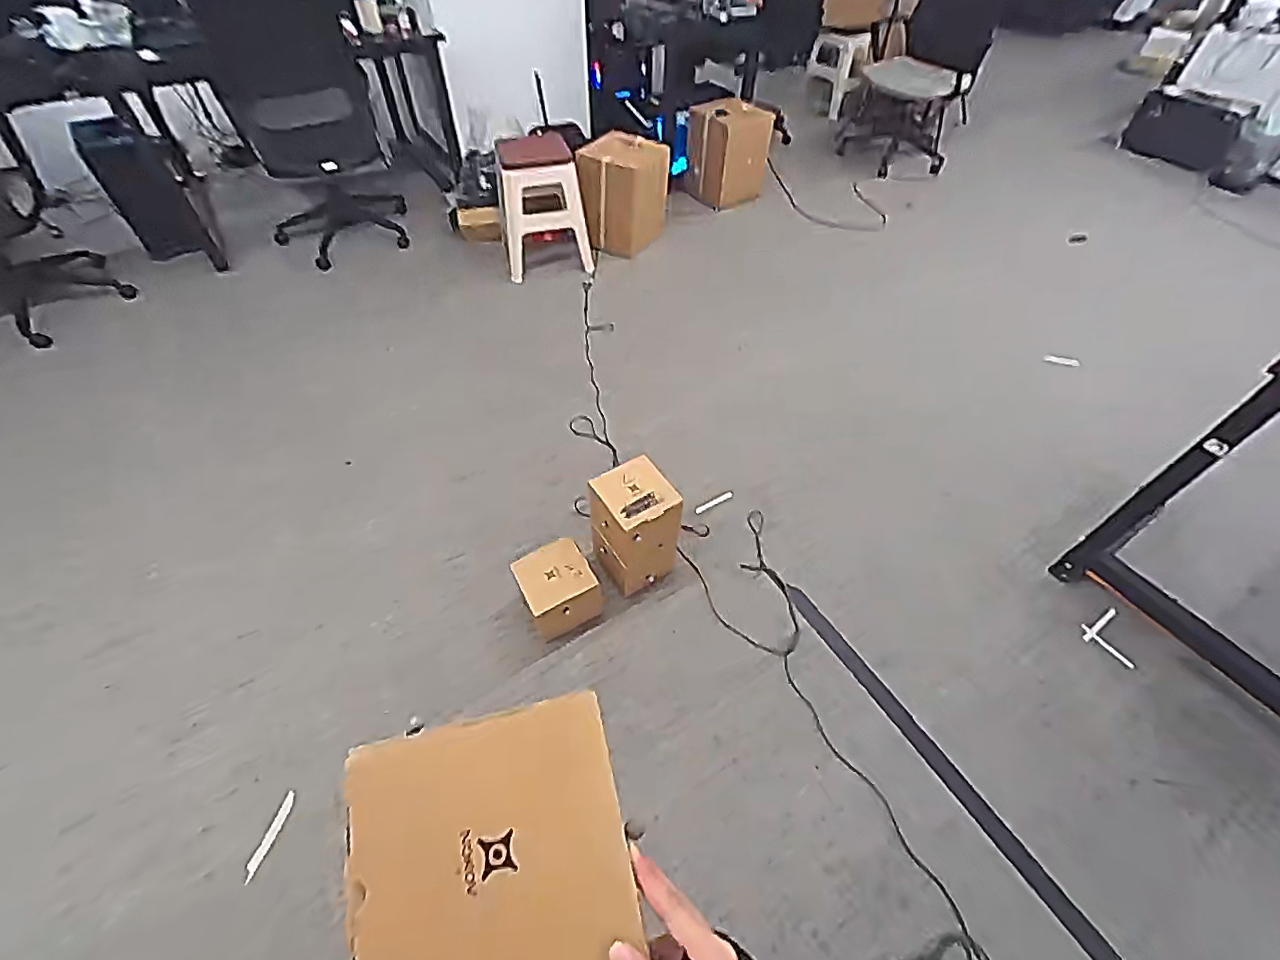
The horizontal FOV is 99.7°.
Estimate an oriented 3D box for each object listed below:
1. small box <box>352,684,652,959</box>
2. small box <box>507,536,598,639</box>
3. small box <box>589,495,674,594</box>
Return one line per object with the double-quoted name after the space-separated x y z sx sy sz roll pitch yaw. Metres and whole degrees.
-0.100 0.265 0.426 0.179 0.176 0.168 -12 68 -8 "small box"
-0.221 0.281 1.398 0.179 0.176 0.168 -24 56 -19 "small box"
-0.027 0.179 1.483 0.168 0.176 0.179 -27 58 -21 "small box"
